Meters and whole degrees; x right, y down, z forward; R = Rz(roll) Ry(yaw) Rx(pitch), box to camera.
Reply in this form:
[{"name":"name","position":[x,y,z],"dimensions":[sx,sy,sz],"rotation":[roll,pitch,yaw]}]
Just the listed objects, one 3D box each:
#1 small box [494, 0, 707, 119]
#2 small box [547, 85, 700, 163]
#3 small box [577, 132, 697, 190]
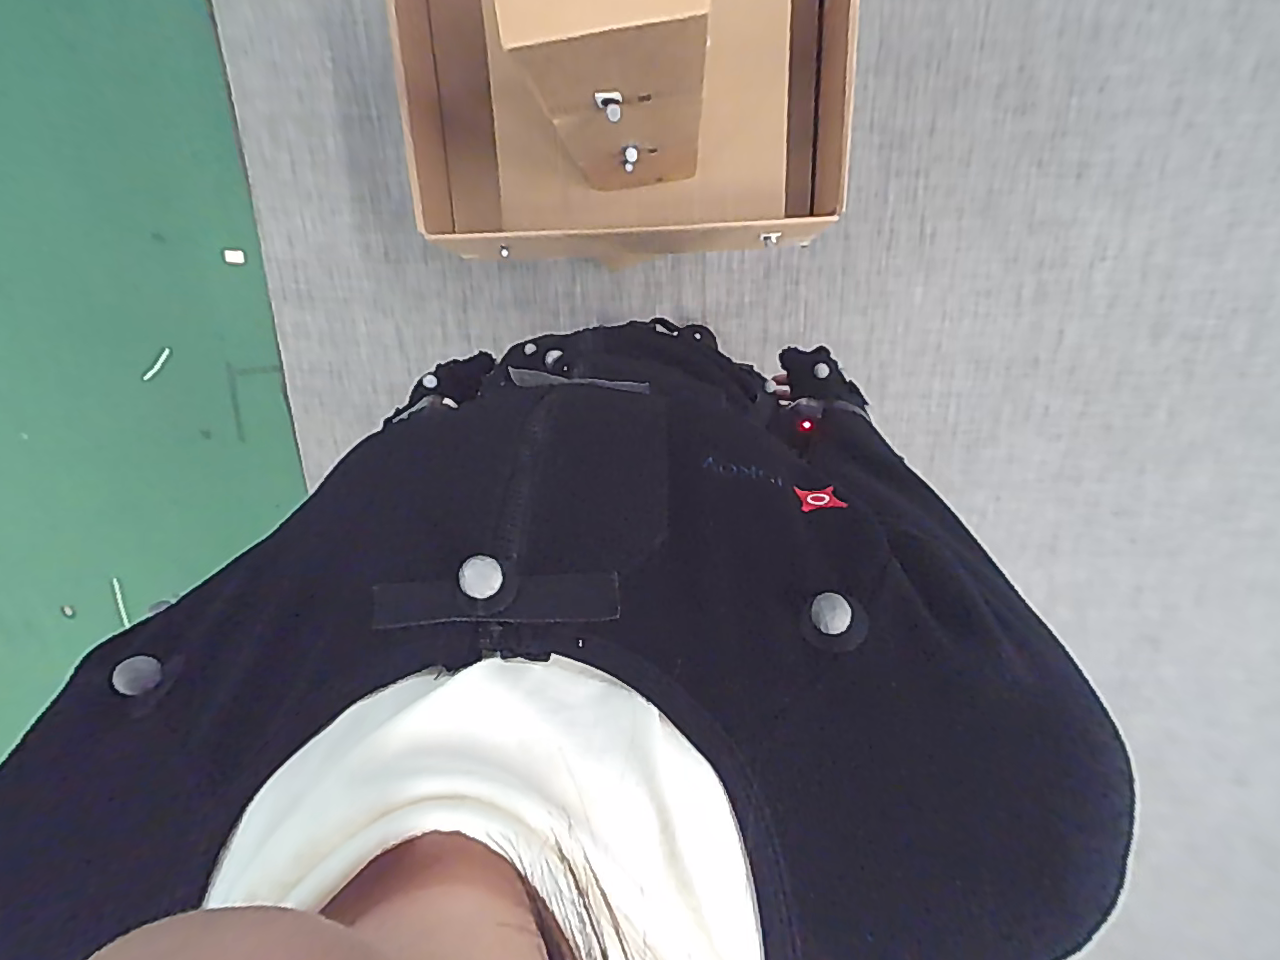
[{"name":"small box","position":[-0.032,-0.454,0.473],"dimensions":[0.168,0.176,0.179],"rotation":[-5,106,7]},{"name":"small box","position":[-0.021,-0.498,0.628],"dimensions":[0.168,0.176,0.179],"rotation":[-5,106,6]},{"name":"small box","position":[-0.007,-0.547,0.784],"dimensions":[0.168,0.176,0.179],"rotation":[-5,104,7]}]
